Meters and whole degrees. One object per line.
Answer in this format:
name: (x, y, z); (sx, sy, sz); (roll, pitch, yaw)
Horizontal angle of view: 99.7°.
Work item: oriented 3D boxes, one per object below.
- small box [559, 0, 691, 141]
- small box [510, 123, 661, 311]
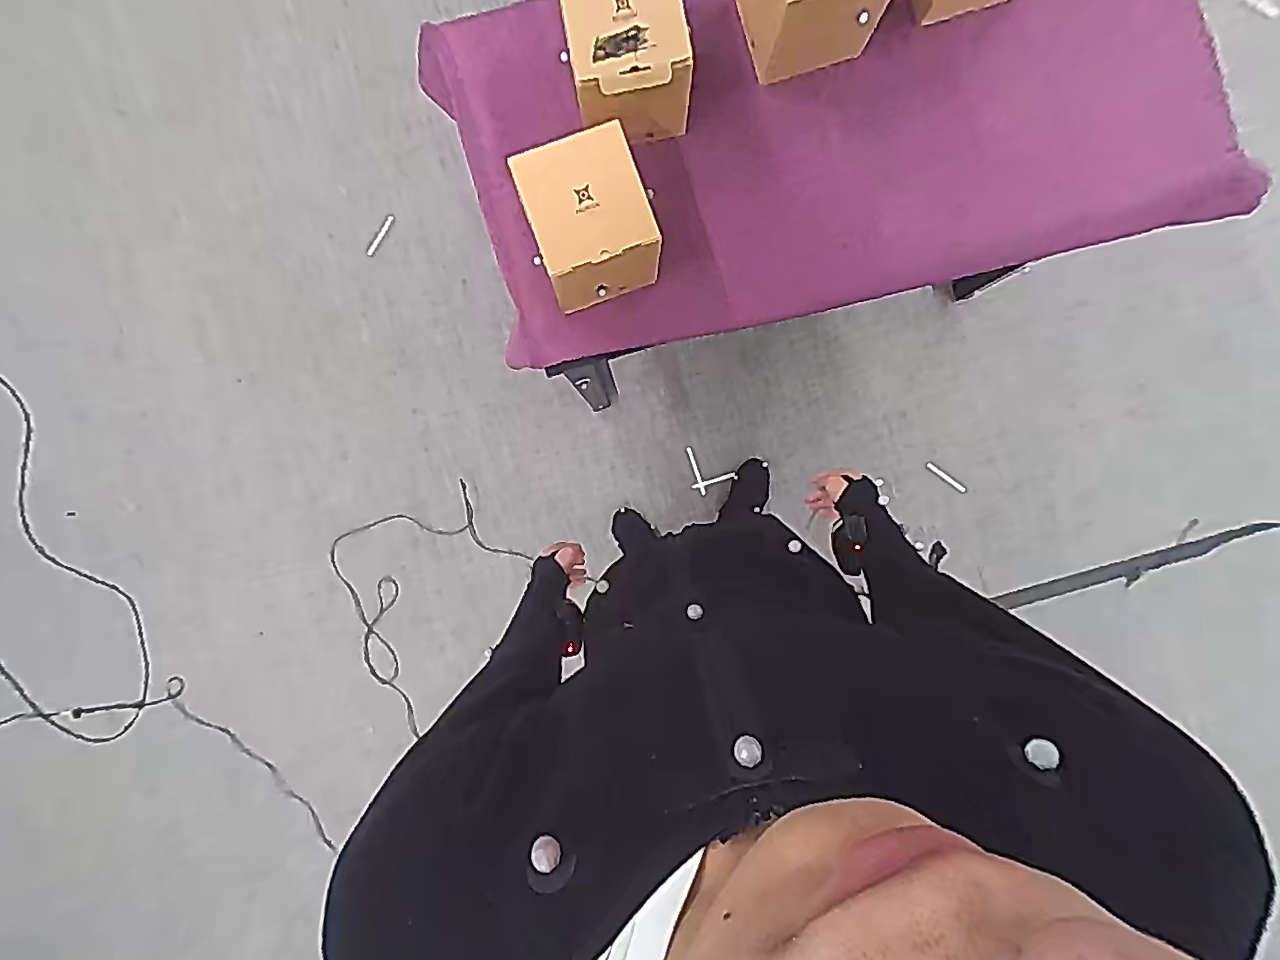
small box: (-0.023, -0.641, 0.817); (0.168, 0.176, 0.179); (-11, 91, 0)
small box: (-0.078, -0.385, 0.820); (0.168, 0.176, 0.179); (-21, 91, -1)
